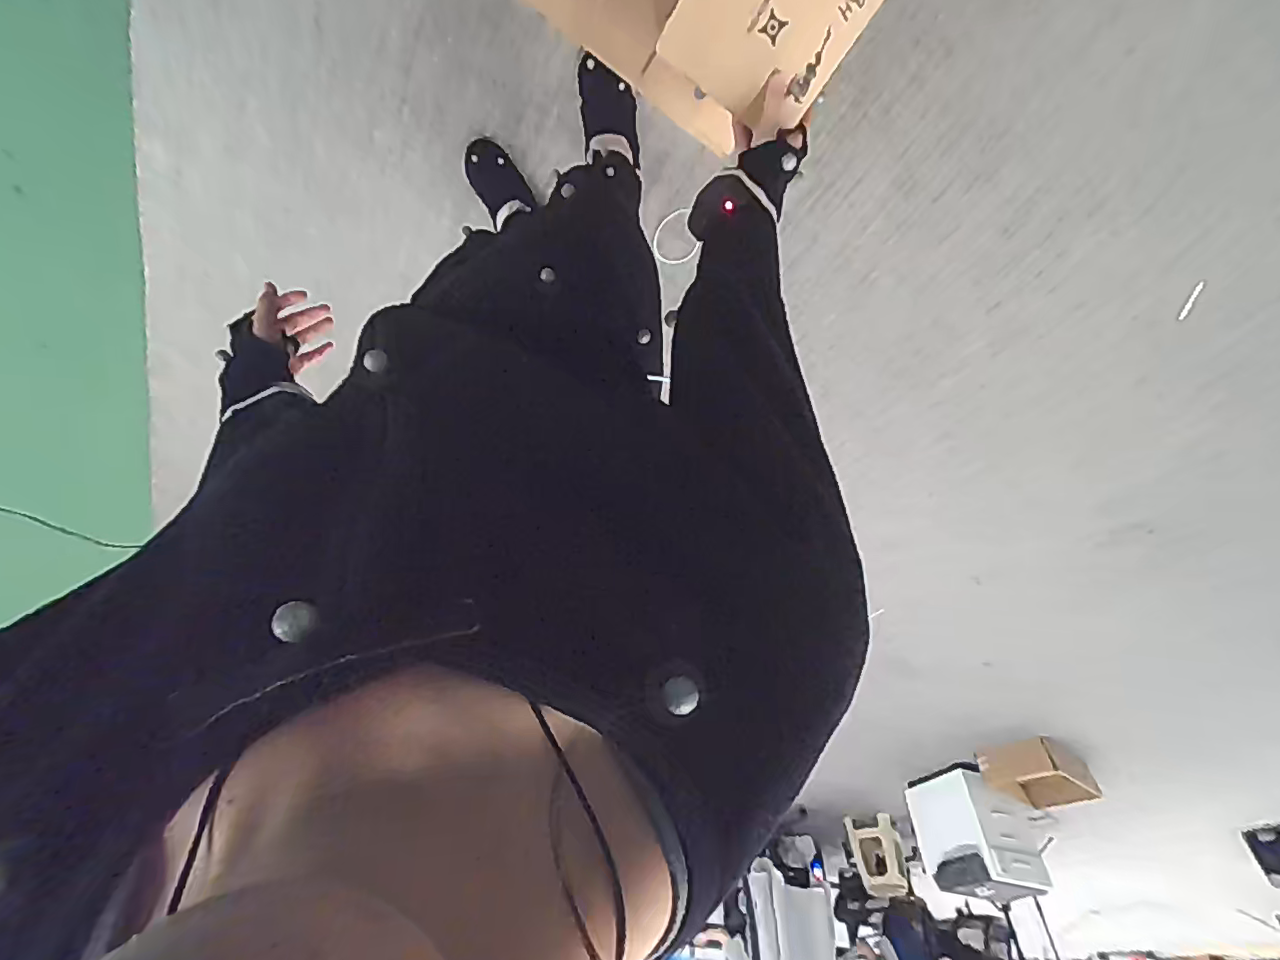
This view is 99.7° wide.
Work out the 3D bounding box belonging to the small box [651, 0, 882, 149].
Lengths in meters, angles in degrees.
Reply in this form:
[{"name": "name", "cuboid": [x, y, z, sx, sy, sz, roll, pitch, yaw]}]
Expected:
[{"name": "small box", "cuboid": [0.131, -0.517, 0.610, 0.179, 0.176, 0.168, 28, 128, -17]}]
